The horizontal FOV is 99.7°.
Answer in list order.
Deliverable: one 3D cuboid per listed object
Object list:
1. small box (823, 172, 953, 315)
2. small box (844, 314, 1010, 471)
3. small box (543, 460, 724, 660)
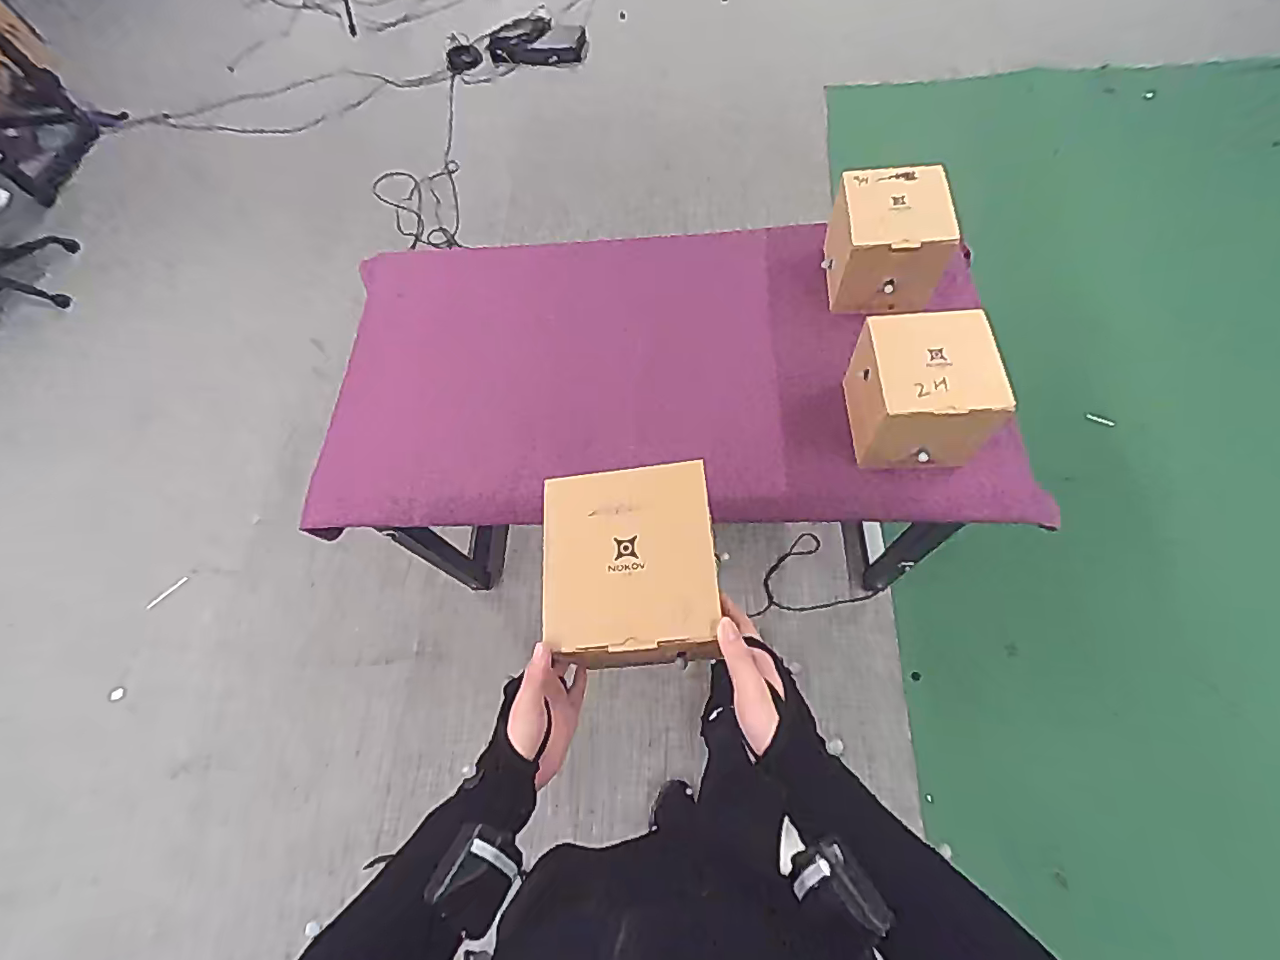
[{"bbox_3d":[0.432,-0.413,0.971,0.168,0.176,0.179,1,67,7],"label":"small box"},{"bbox_3d":[0.423,-0.129,0.834,0.168,0.176,0.179,-2,63,8],"label":"small box"},{"bbox_3d":[0.000,0.099,0.590,0.168,0.176,0.179,-7,65,7],"label":"small box"}]
